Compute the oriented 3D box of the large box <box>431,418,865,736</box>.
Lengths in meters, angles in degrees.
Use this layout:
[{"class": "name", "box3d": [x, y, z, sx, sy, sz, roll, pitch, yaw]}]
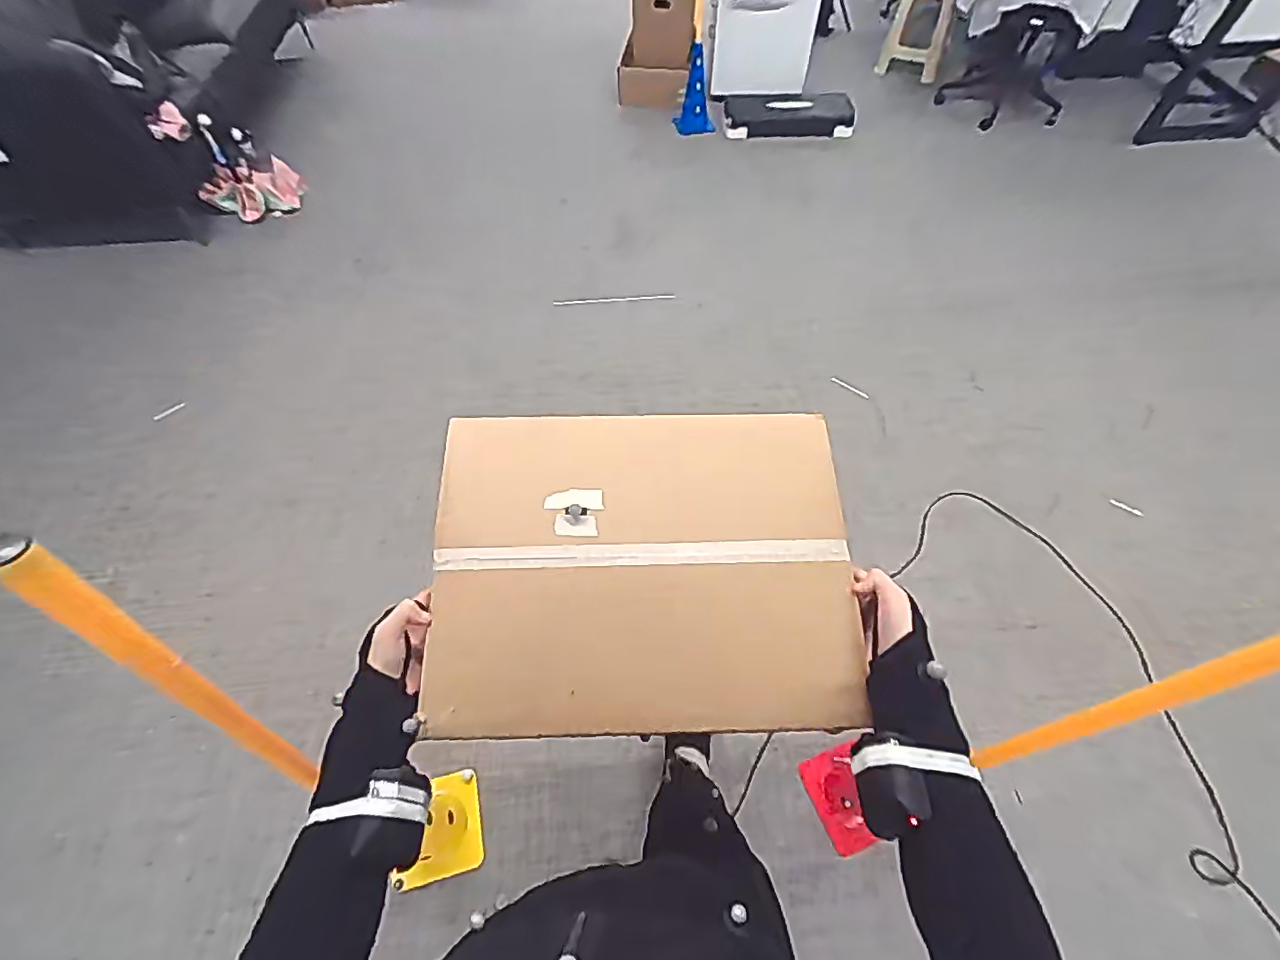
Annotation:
[{"class": "large box", "box3d": [0.005, 0.136, 0.682, 0.408, 0.320, 0.320, -2, 67, -1]}]
